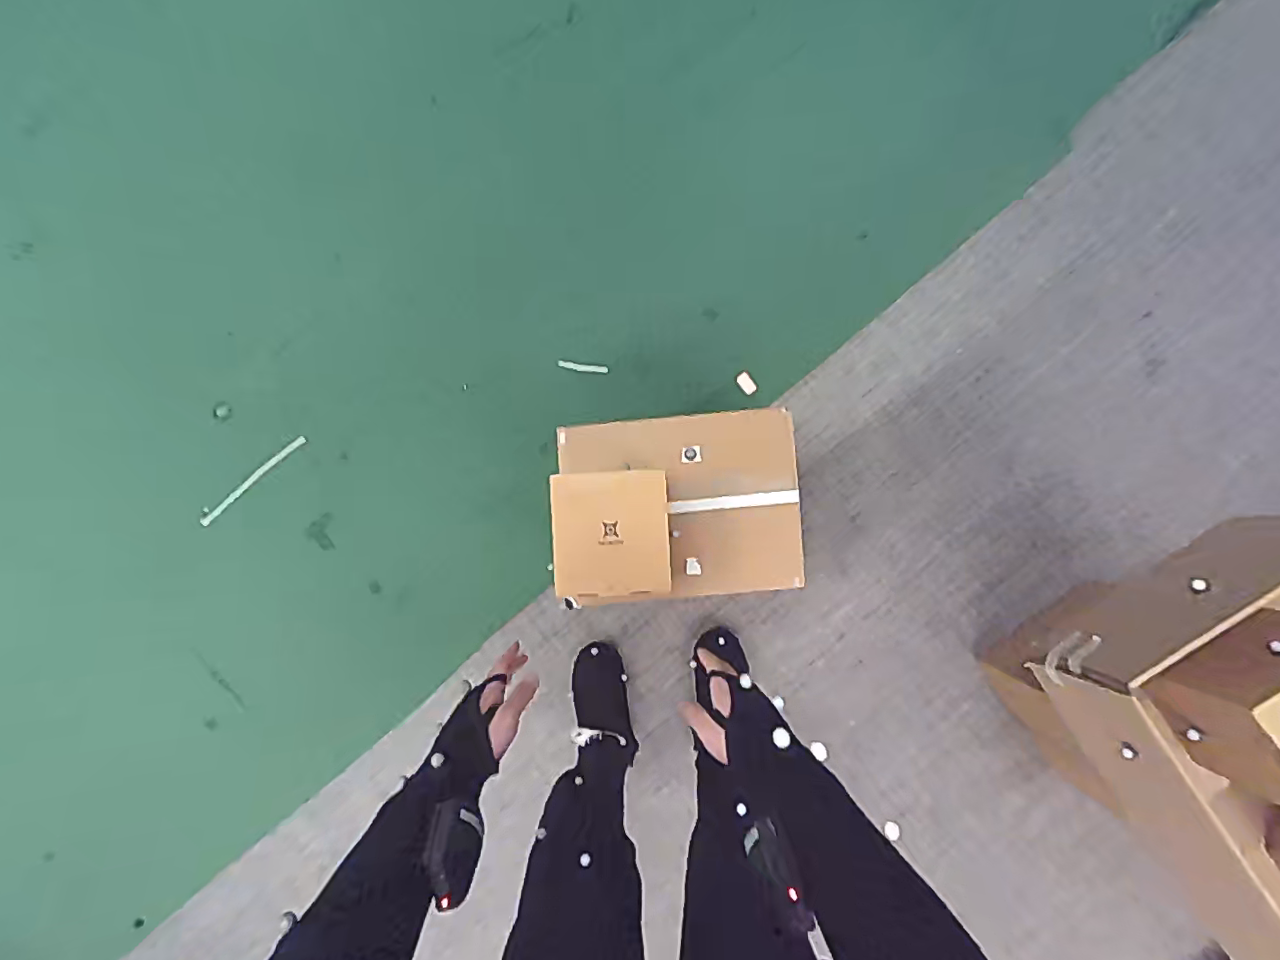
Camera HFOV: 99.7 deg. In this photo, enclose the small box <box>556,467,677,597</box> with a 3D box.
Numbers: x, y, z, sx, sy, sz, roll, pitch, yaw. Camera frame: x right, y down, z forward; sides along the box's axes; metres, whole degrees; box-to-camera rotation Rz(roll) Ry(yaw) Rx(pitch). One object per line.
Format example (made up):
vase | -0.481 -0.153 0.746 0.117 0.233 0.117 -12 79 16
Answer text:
small box | -0.034 0.075 0.832 0.168 0.176 0.179 -3 90 1
